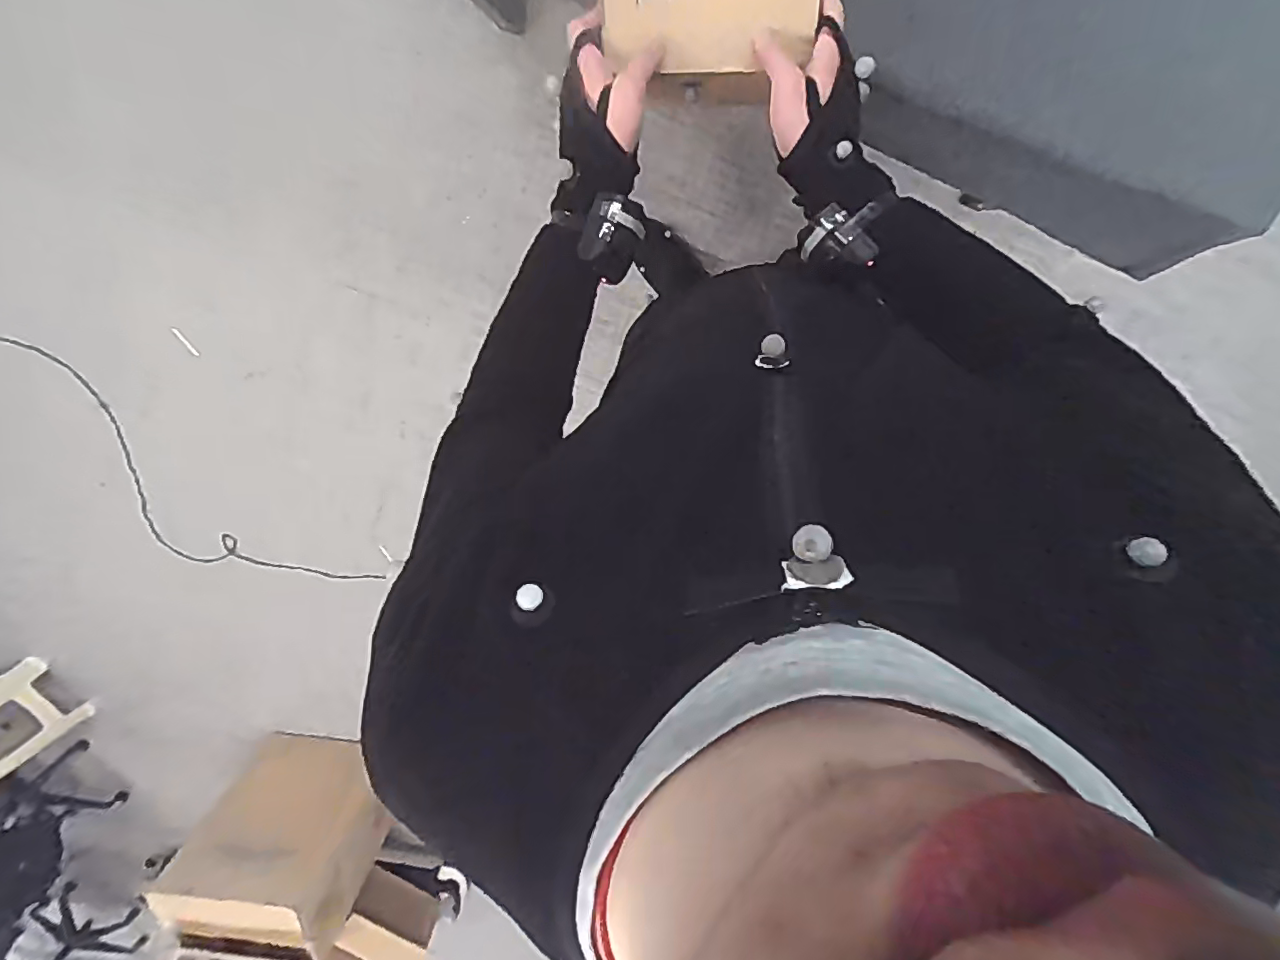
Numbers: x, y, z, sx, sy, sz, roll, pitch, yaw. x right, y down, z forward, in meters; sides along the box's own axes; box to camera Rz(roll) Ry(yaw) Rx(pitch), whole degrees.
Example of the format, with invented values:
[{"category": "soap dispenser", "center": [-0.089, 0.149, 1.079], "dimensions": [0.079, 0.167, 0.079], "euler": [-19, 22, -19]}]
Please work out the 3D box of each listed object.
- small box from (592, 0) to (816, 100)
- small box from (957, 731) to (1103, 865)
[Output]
[{"category": "small box", "center": [0.054, -0.445, 0.473], "dimensions": [0.179, 0.176, 0.168], "euler": [1, 117, 2]}, {"category": "small box", "center": [0.841, 0.699, 1.195], "dimensions": [0.168, 0.176, 0.179], "euler": [21, 115, -6]}]
